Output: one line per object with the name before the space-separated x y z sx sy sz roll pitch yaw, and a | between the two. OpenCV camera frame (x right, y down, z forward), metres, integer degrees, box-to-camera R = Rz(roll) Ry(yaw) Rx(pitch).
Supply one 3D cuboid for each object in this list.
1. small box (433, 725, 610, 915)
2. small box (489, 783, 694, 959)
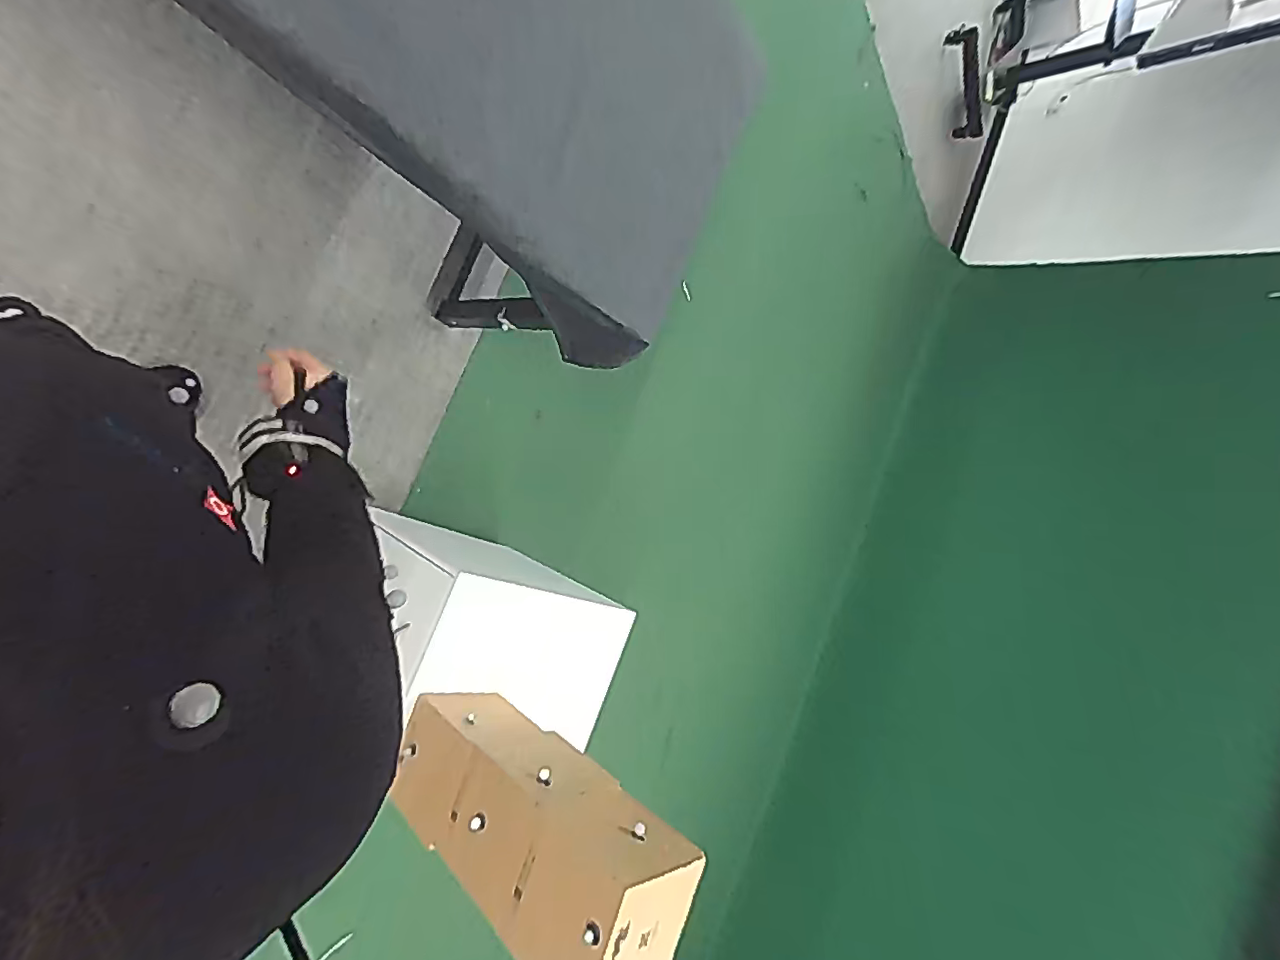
small box | -0.182 0.496 0.821 0.179 0.176 0.168 23 85 -49
small box | -0.062 0.530 0.714 0.179 0.176 0.168 27 81 -50
